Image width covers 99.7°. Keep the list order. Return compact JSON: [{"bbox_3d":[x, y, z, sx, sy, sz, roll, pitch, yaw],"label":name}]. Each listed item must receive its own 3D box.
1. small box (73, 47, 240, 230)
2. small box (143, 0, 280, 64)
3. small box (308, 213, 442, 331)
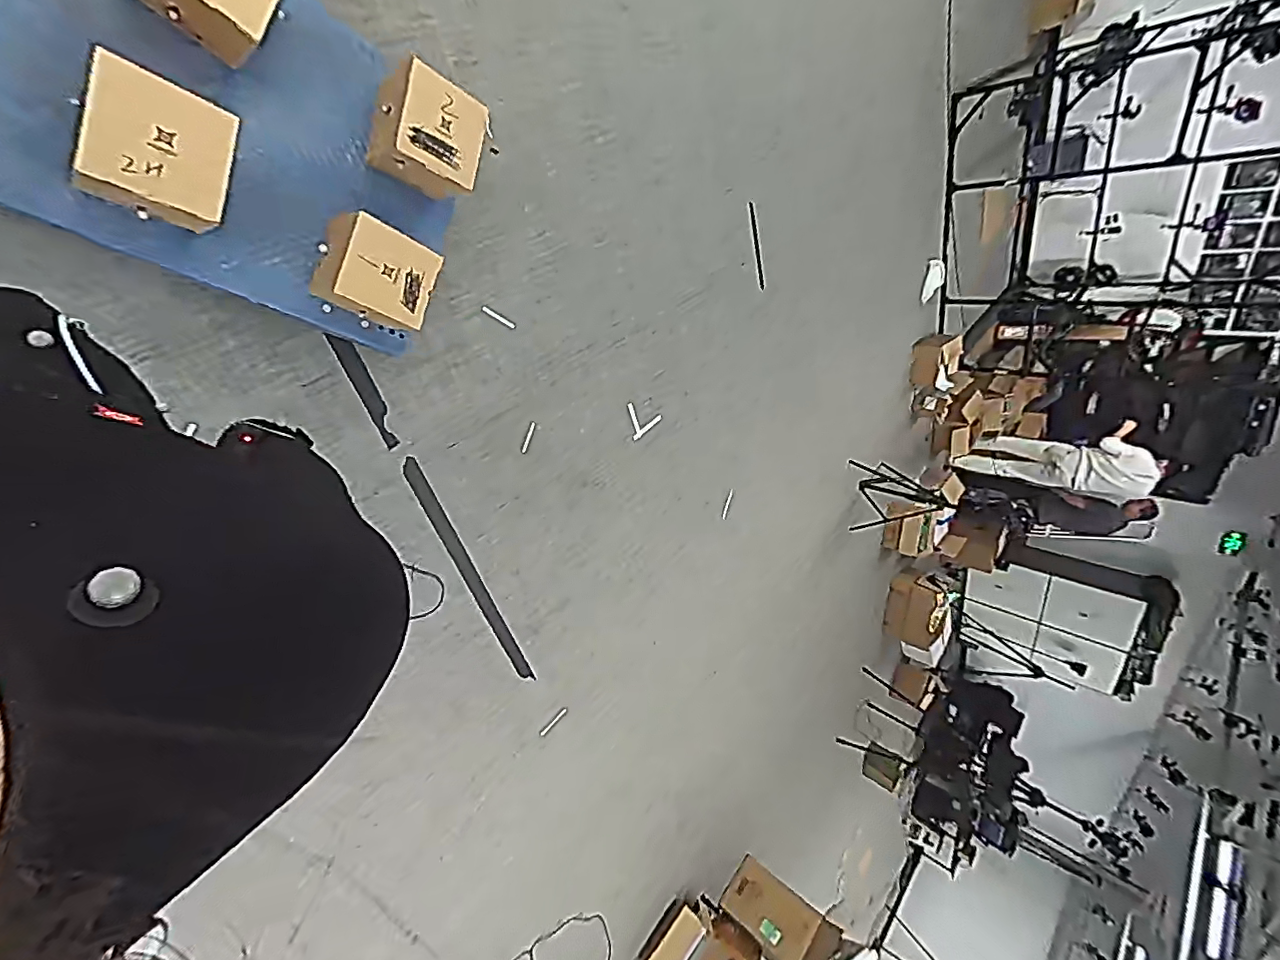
[{"bbox_3d":[-0.771,-0.524,0.861,0.168,0.176,0.179,10,95,-48],"label":"small box"},{"bbox_3d":[-0.682,-0.818,0.858,0.168,0.176,0.179,25,86,-49],"label":"small box"},{"bbox_3d":[-0.553,-0.429,1.129,0.179,0.176,0.168,20,89,-48],"label":"small box"}]
